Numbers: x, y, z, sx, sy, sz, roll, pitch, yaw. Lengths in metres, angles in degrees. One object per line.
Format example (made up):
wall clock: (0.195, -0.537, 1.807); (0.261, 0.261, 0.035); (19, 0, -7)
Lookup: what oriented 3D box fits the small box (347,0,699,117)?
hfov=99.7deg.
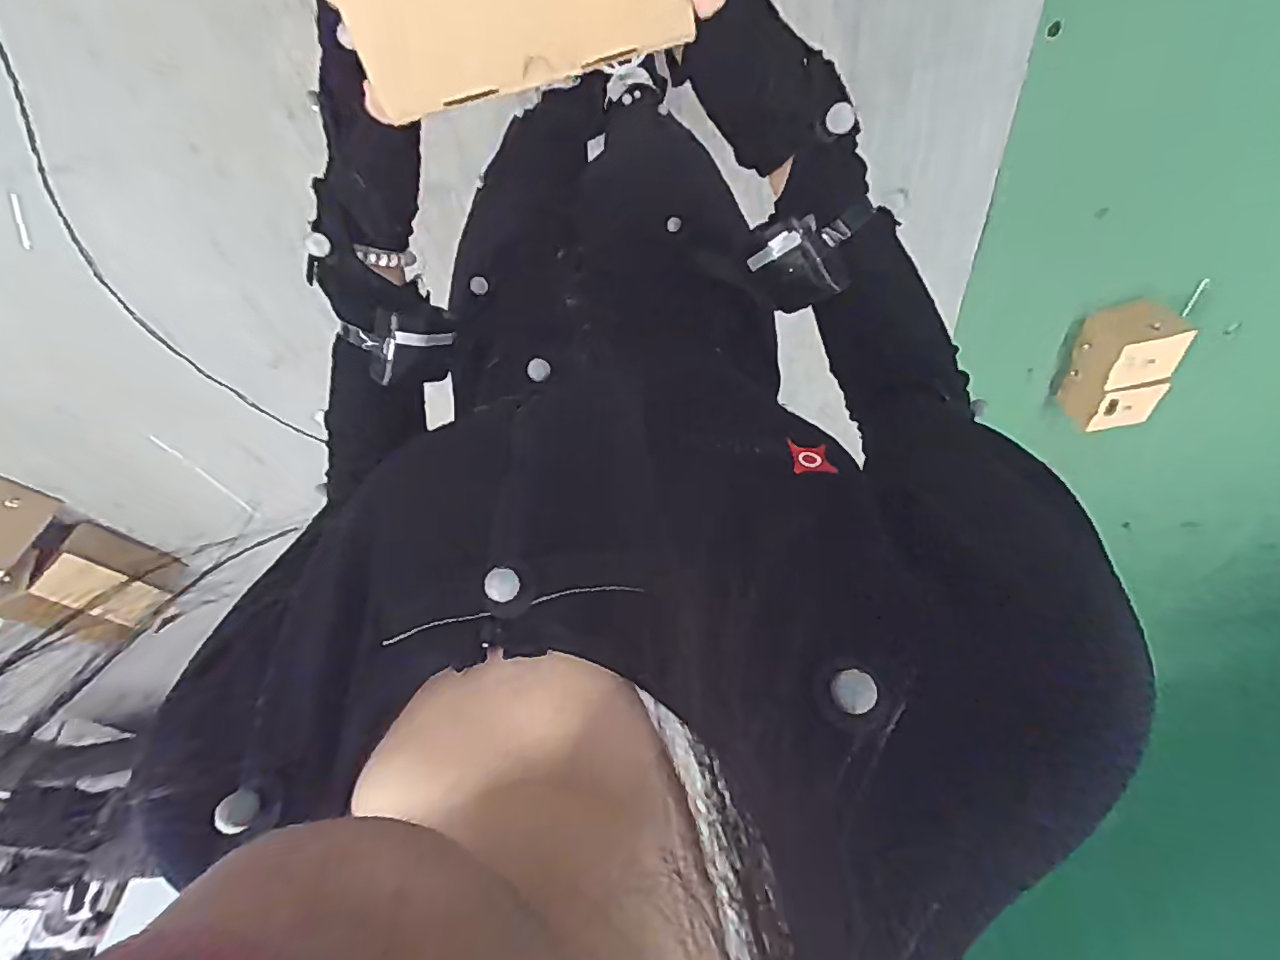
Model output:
small box: (-0.076, -0.321, 0.287); (0.168, 0.176, 0.179); (-14, 130, 3)
